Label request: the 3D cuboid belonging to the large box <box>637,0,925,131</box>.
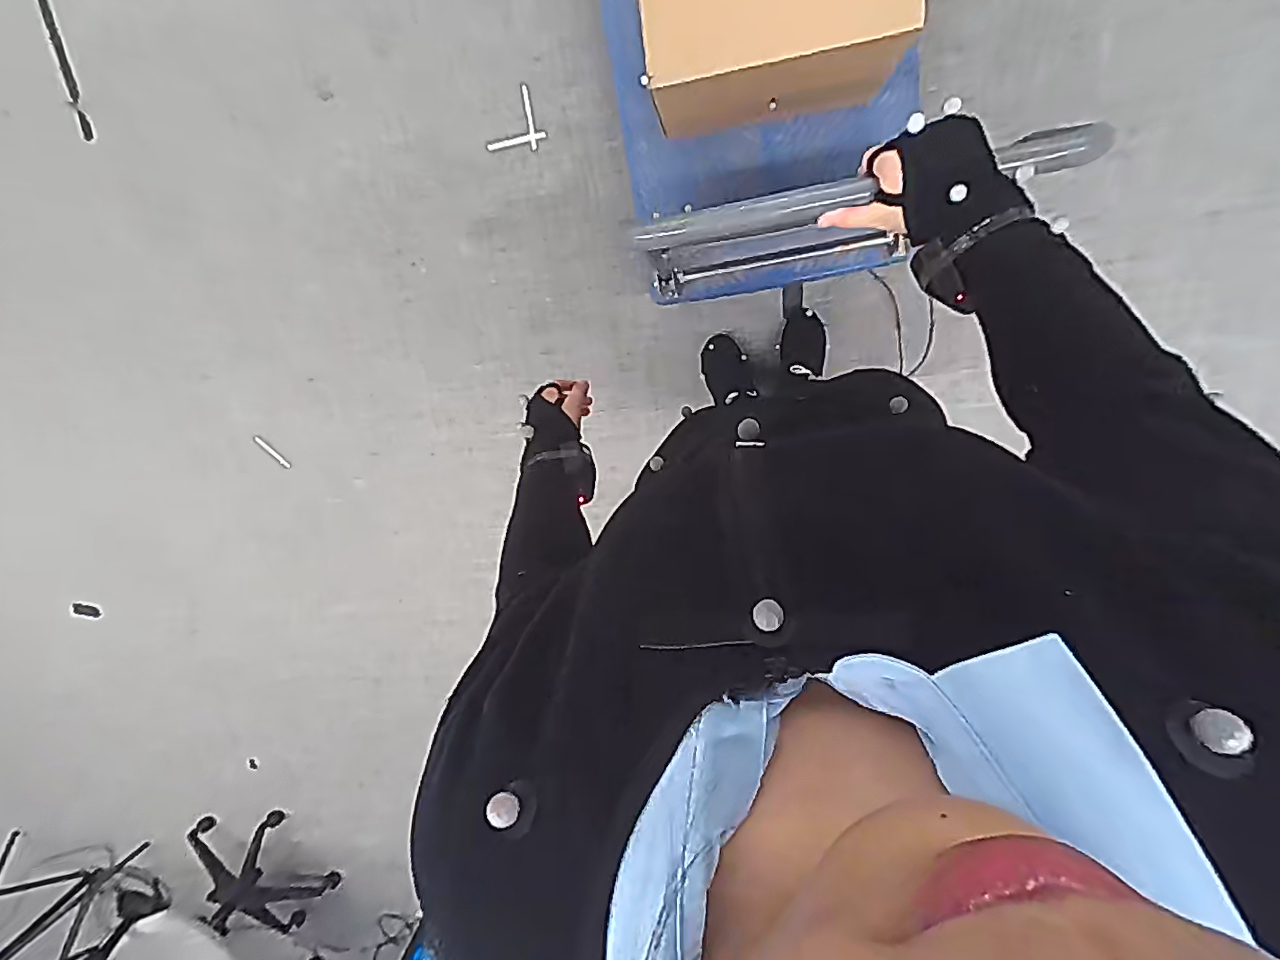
[{"bbox_3d":[0.207,-0.828,0.888,0.408,0.320,0.320,-6,106,12],"label":"large box"}]
